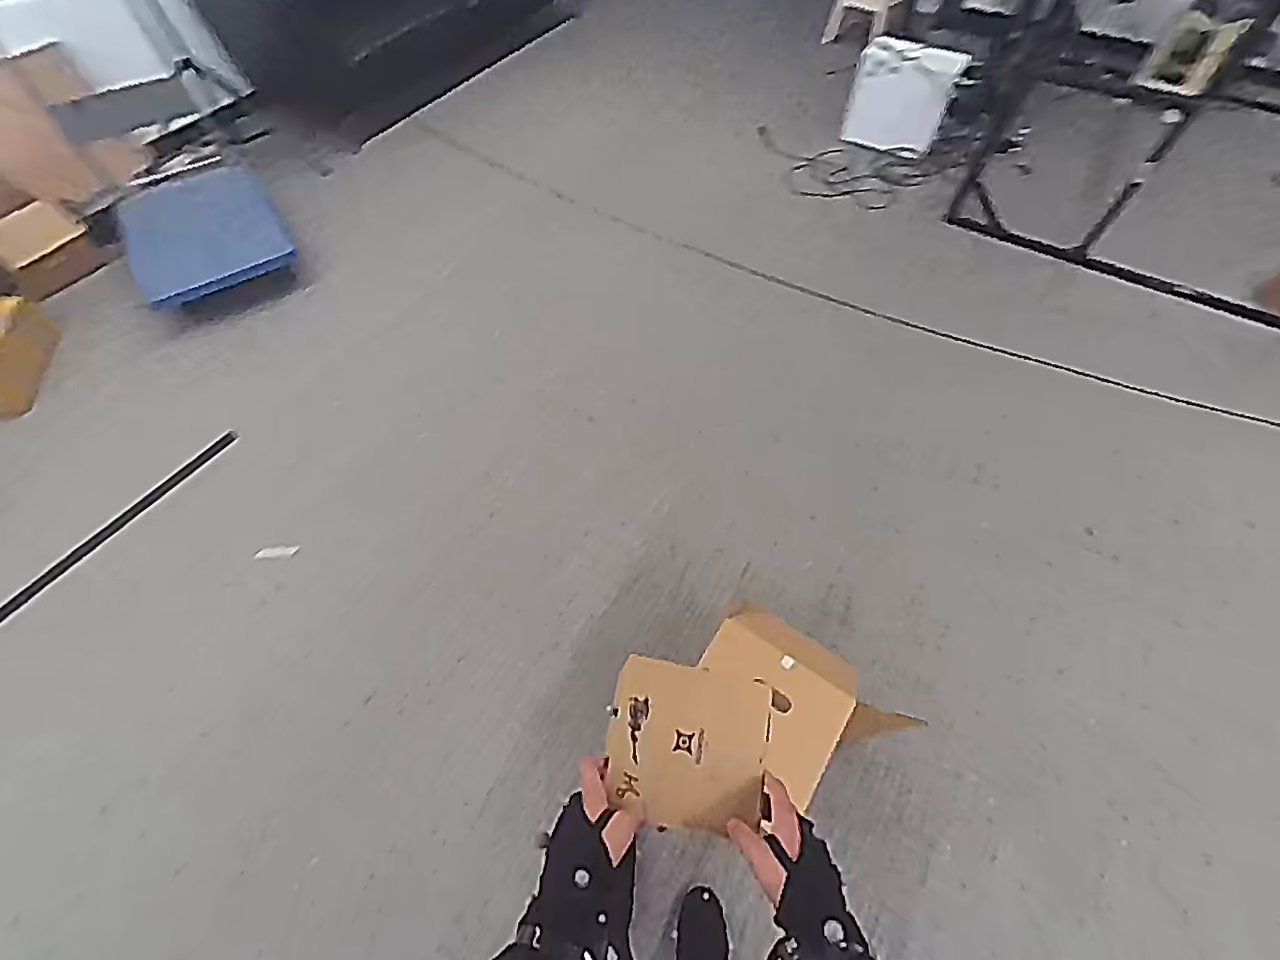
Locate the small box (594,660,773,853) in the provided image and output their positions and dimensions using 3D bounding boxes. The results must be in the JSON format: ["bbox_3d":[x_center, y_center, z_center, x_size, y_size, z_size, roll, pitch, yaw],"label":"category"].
[{"bbox_3d":[0.047,0.333,0.669,0.179,0.176,0.168,13,63,-1],"label":"small box"}]
